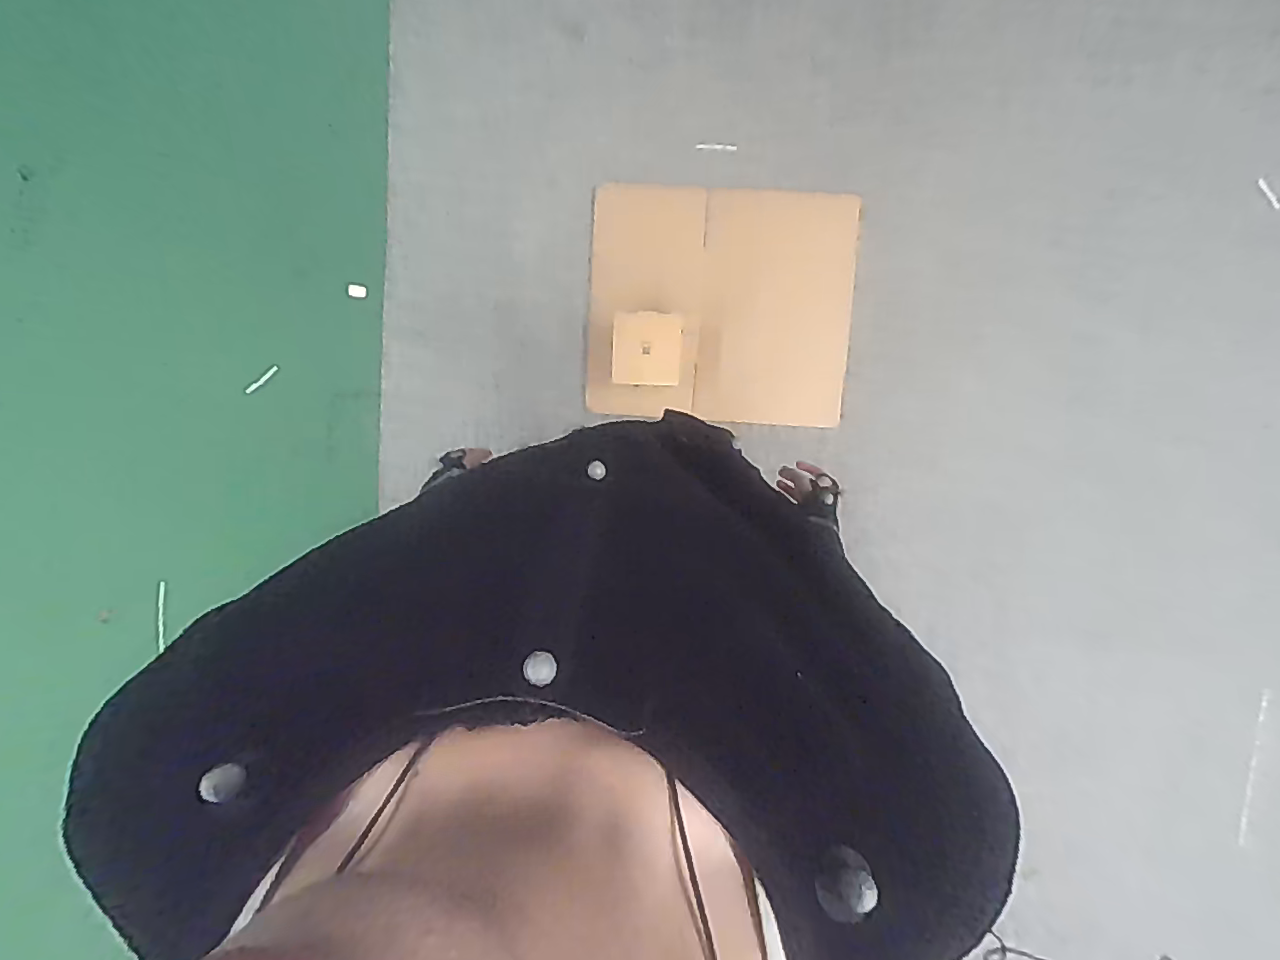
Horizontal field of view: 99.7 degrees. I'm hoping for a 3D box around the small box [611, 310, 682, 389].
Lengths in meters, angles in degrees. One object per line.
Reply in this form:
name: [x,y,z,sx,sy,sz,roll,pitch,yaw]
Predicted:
small box: [0.019,-0.326,1.375,0.168,0.176,0.179,2,95,1]
